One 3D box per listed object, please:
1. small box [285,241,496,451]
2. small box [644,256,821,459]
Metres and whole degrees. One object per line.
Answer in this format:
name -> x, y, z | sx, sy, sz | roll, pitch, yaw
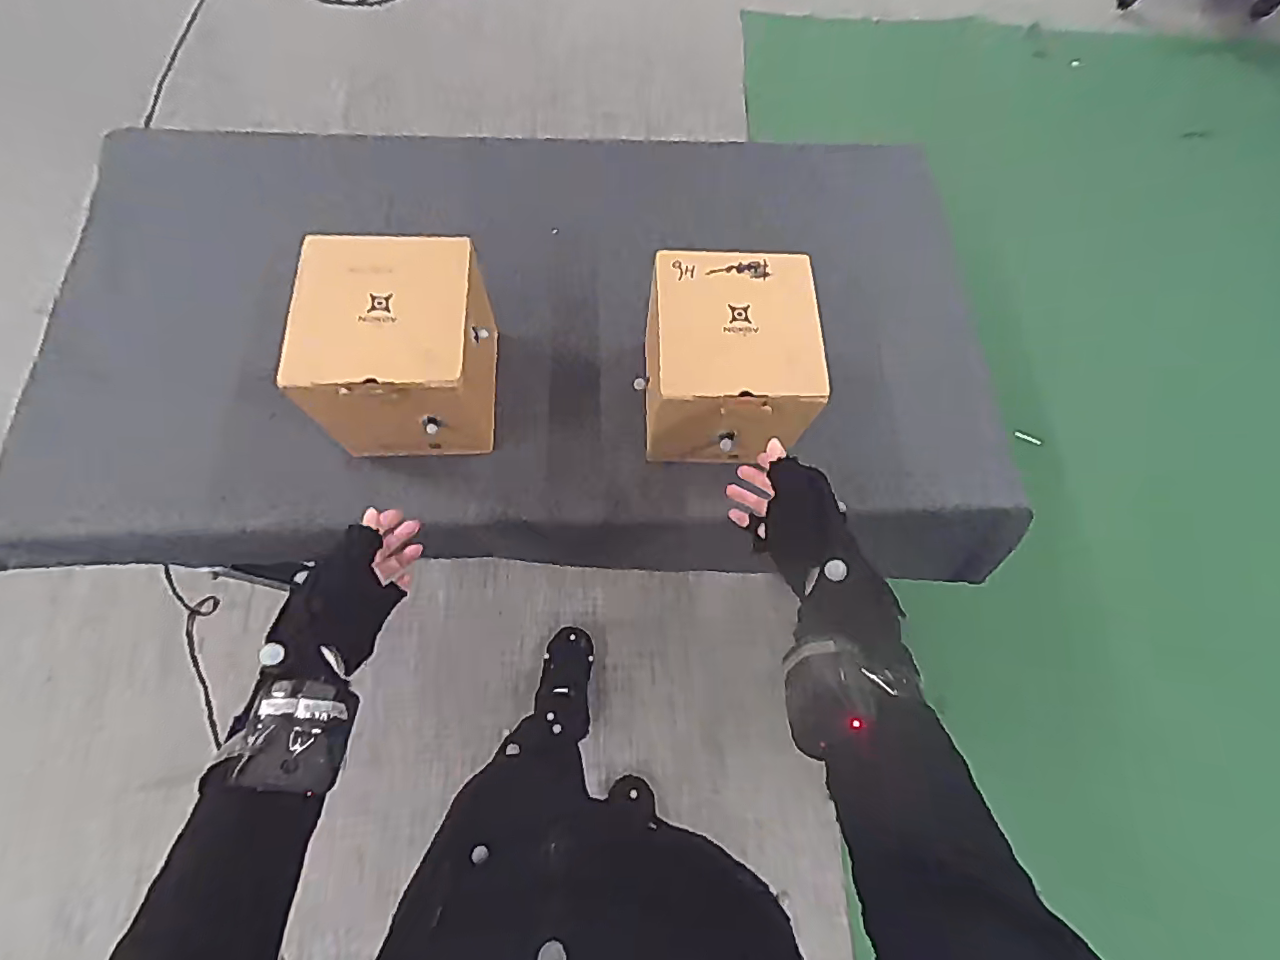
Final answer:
small box -> -0.258, -0.138, 0.607 | 0.168, 0.176, 0.179 | -2, 69, -6
small box -> 0.093, -0.130, 0.628 | 0.168, 0.176, 0.179 | 0, 71, -4
